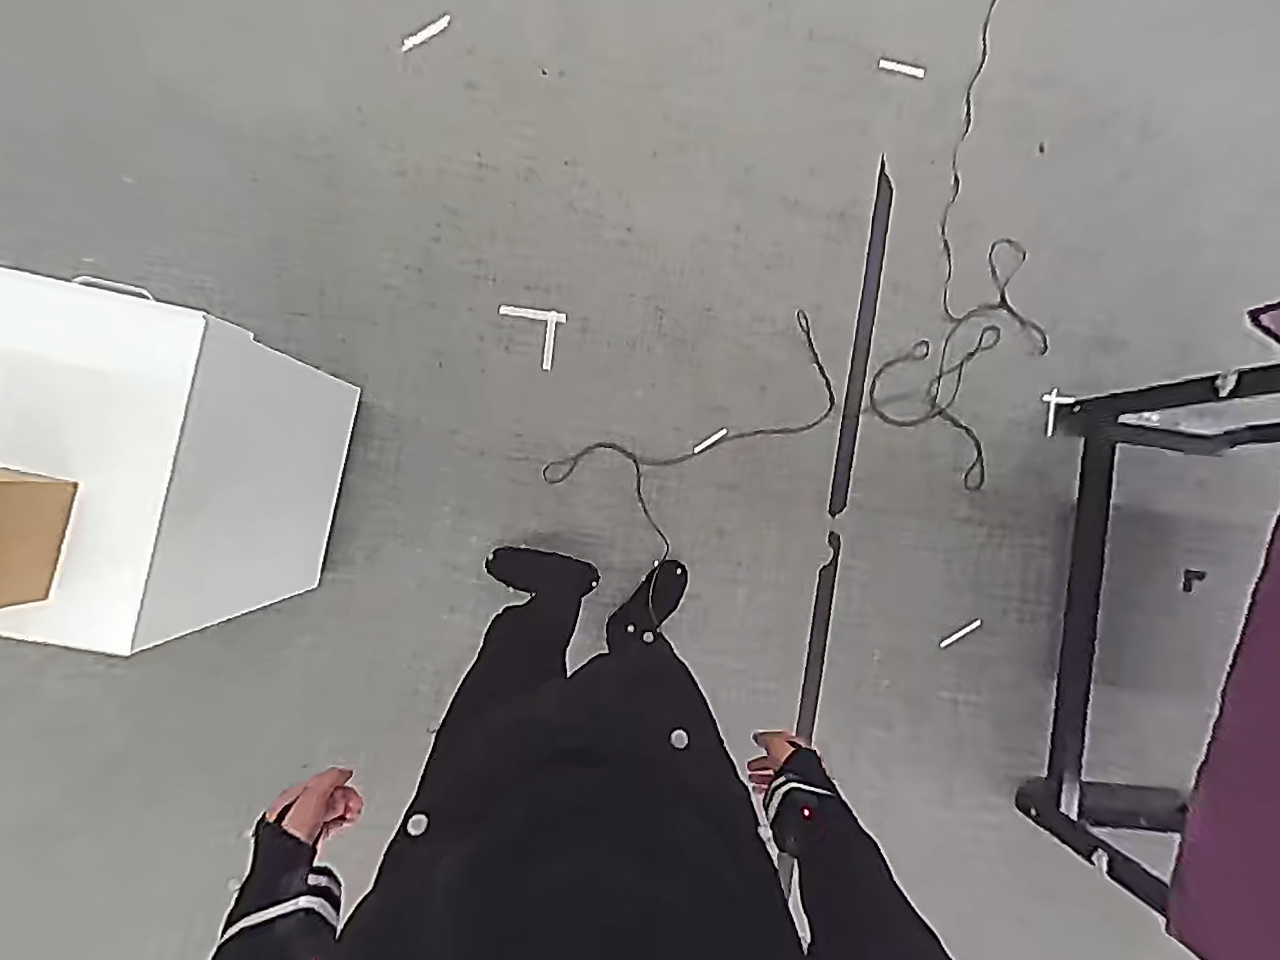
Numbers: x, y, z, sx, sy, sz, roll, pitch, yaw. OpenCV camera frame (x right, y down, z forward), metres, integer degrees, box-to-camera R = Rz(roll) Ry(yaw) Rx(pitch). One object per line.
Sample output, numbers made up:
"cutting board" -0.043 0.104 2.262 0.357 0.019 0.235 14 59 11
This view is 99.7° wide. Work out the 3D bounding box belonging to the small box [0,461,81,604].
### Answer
"small box" -0.897 0.066 0.700 0.168 0.176 0.179 13 86 -5
